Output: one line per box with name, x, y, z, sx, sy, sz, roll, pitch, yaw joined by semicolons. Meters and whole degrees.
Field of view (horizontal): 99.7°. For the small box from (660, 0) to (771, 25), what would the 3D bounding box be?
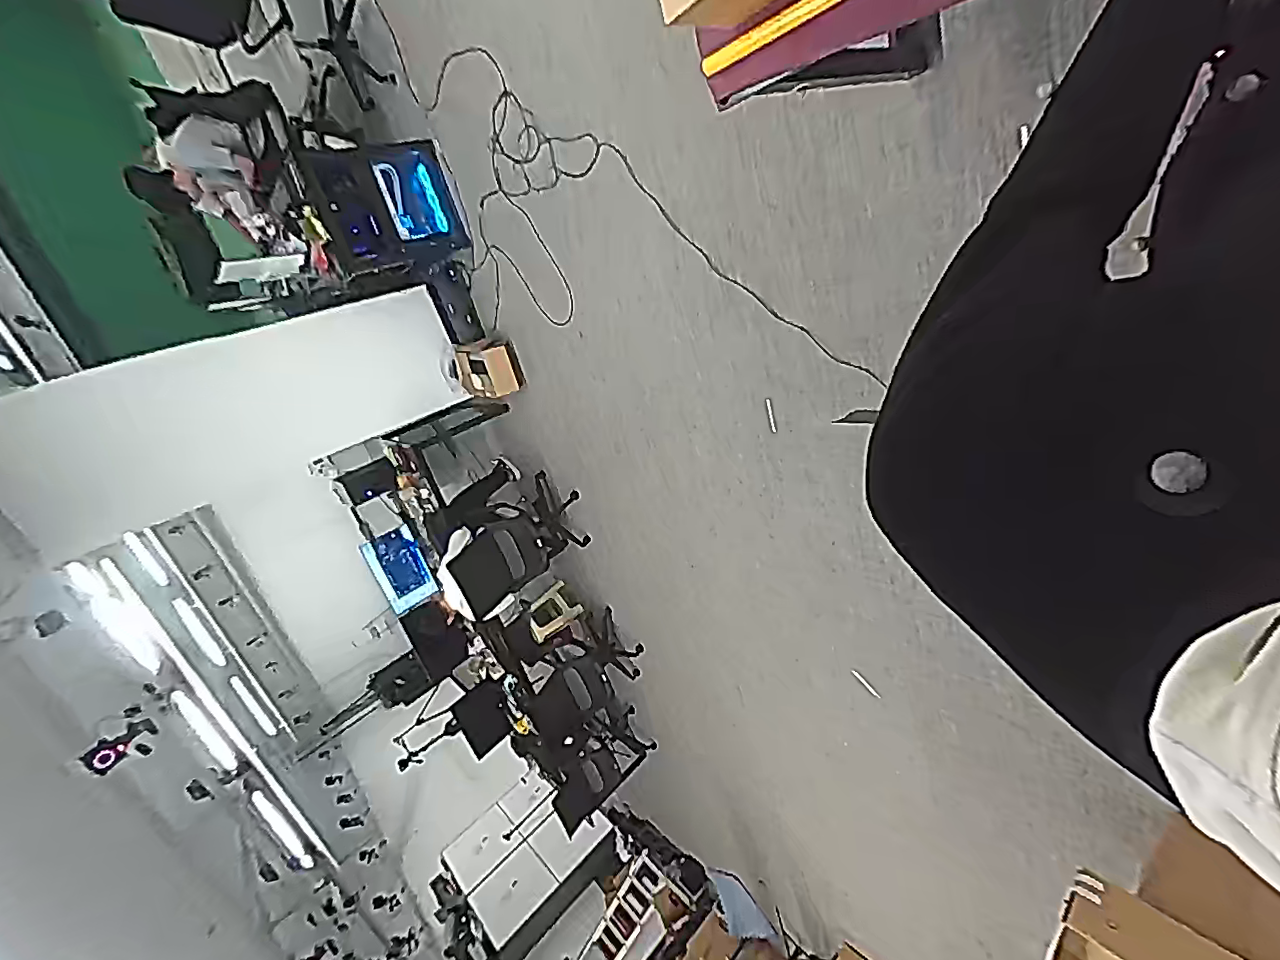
small box;0.127;-0.760;0.735;0.179;0.176;0.168;7;122;48
